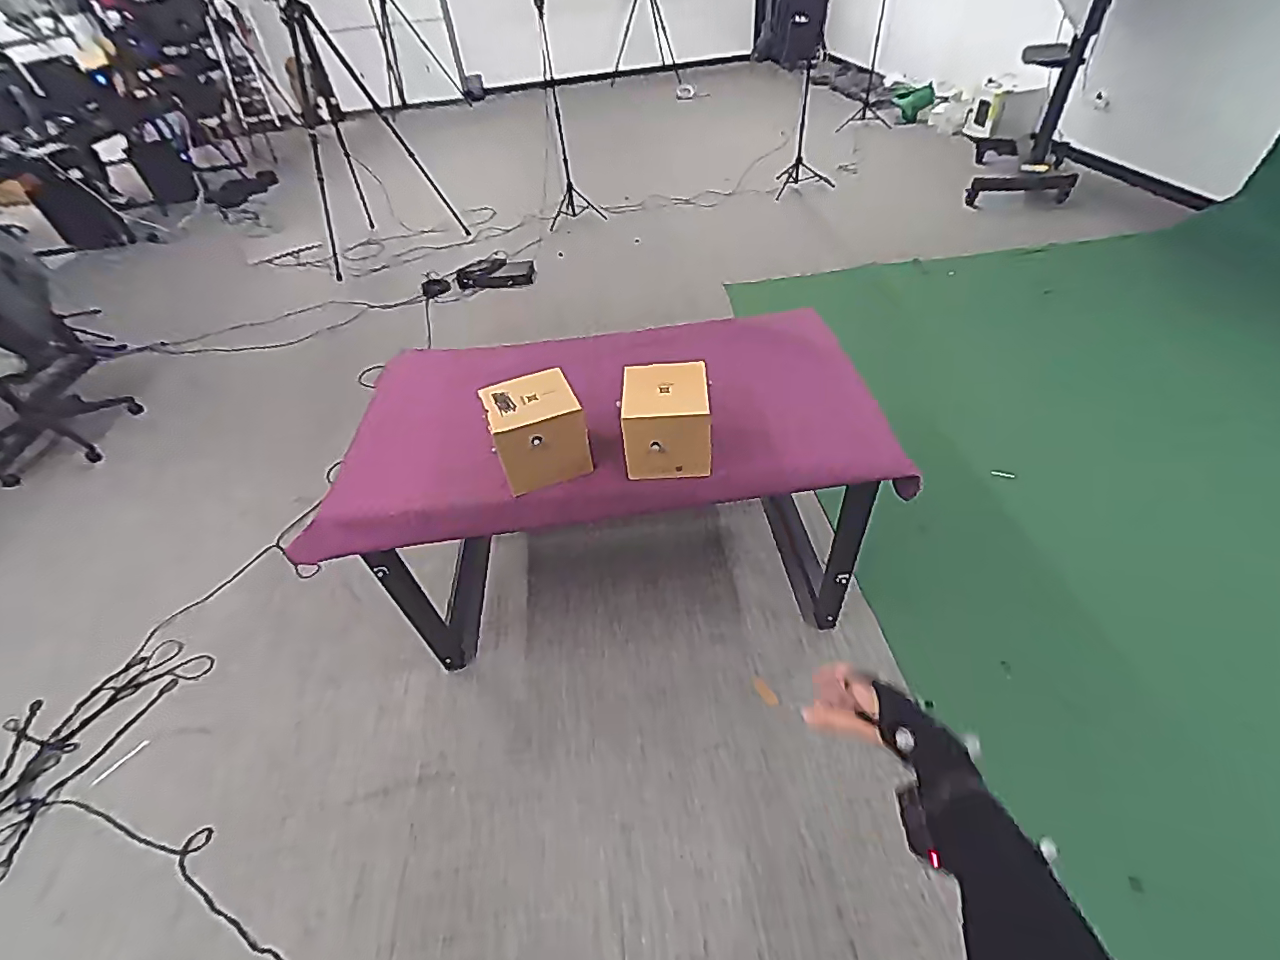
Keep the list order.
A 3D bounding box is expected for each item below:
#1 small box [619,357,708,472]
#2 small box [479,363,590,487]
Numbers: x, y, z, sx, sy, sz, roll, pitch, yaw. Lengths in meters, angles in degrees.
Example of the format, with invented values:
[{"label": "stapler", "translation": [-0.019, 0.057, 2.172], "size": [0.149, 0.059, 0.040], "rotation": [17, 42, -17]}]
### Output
[{"label": "small box", "translation": [0.053, -0.128, 1.106], "size": [0.168, 0.176, 0.179], "rotation": [-3, 44, 4]}, {"label": "small box", "translation": [-0.215, -0.111, 1.118], "size": [0.179, 0.176, 0.168], "rotation": [-18, 45, -12]}]
